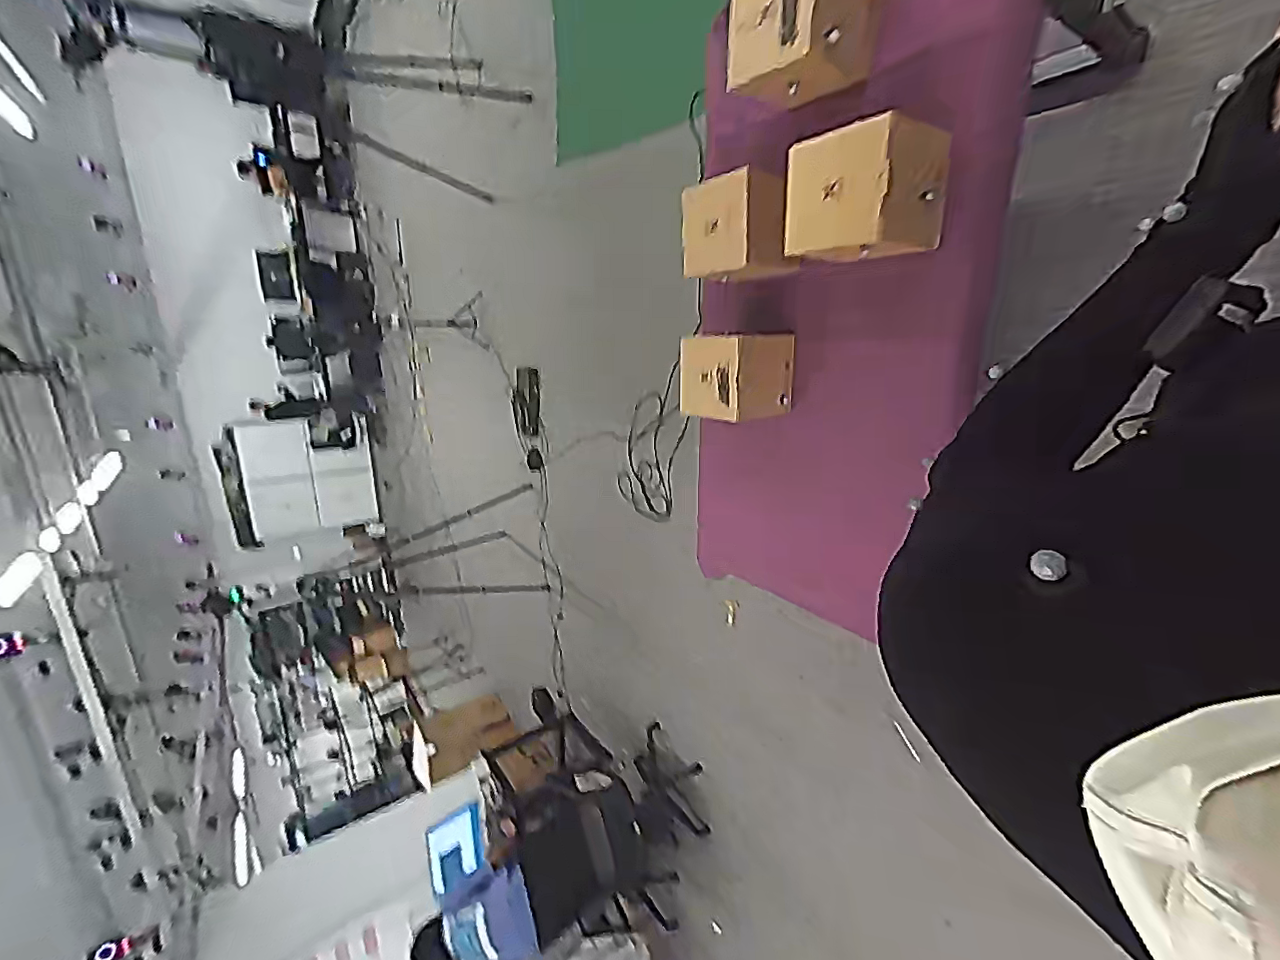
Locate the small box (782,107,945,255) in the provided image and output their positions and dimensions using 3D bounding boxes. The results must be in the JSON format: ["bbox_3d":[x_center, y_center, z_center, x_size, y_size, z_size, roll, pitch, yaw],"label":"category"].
[{"bbox_3d":[0.355,-0.464,0.872,0.179,0.176,0.168,18,114,51],"label":"small box"}]

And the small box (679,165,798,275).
[{"bbox_3d":[0.197,-0.506,1.079,0.179,0.176,0.168,16,114,50],"label":"small box"}]

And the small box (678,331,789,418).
[{"bbox_3d":[0.200,-0.231,1.156,0.179,0.176,0.168,18,114,51],"label":"small box"}]
